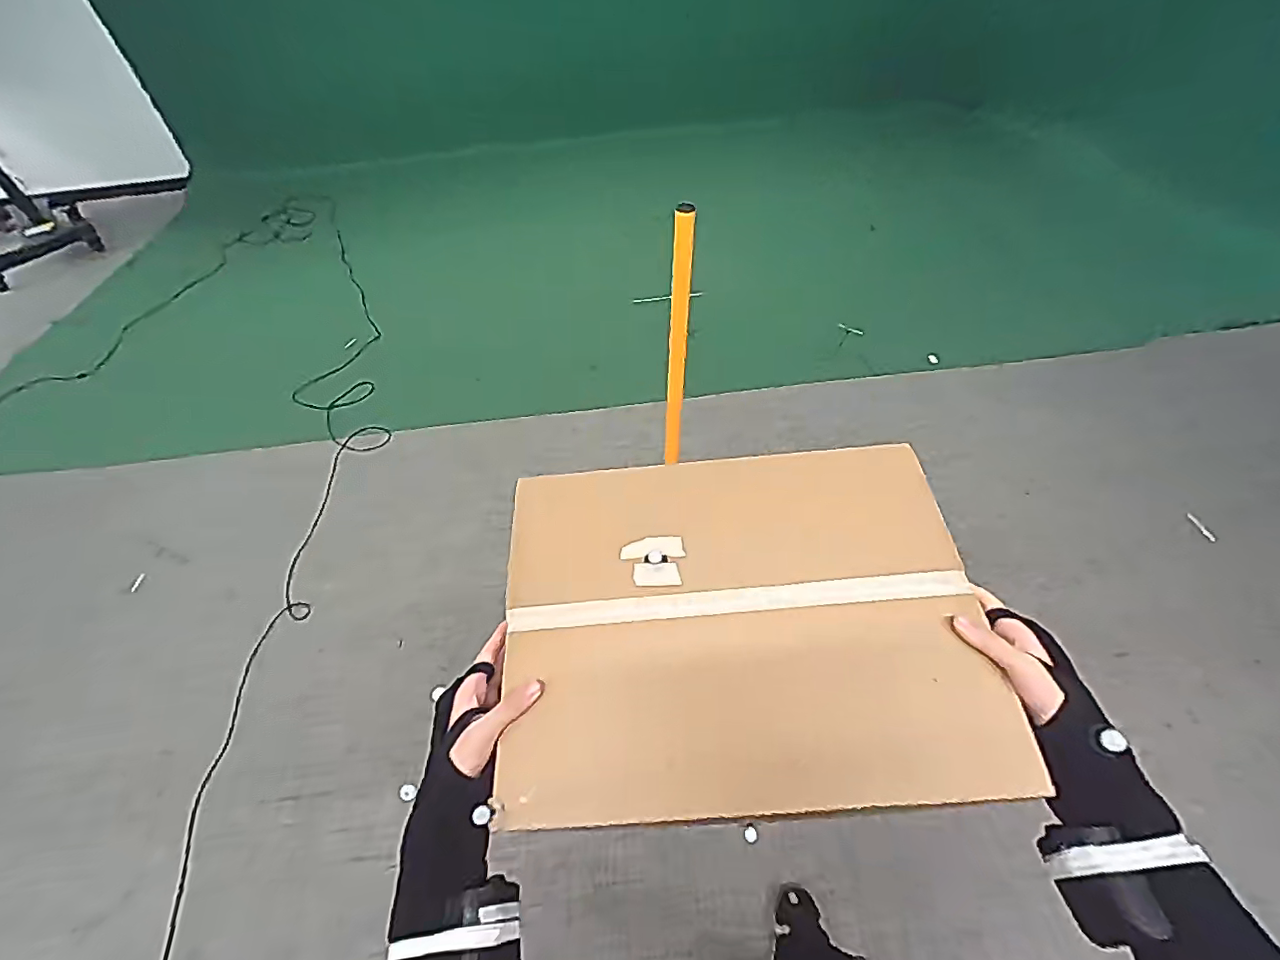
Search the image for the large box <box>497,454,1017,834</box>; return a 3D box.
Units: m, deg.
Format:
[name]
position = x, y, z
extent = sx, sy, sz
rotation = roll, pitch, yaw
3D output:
[large box]
position = 0.092, 0.200, 0.613
extent = 0.408, 0.320, 0.320
rotation = -6, 56, 3
